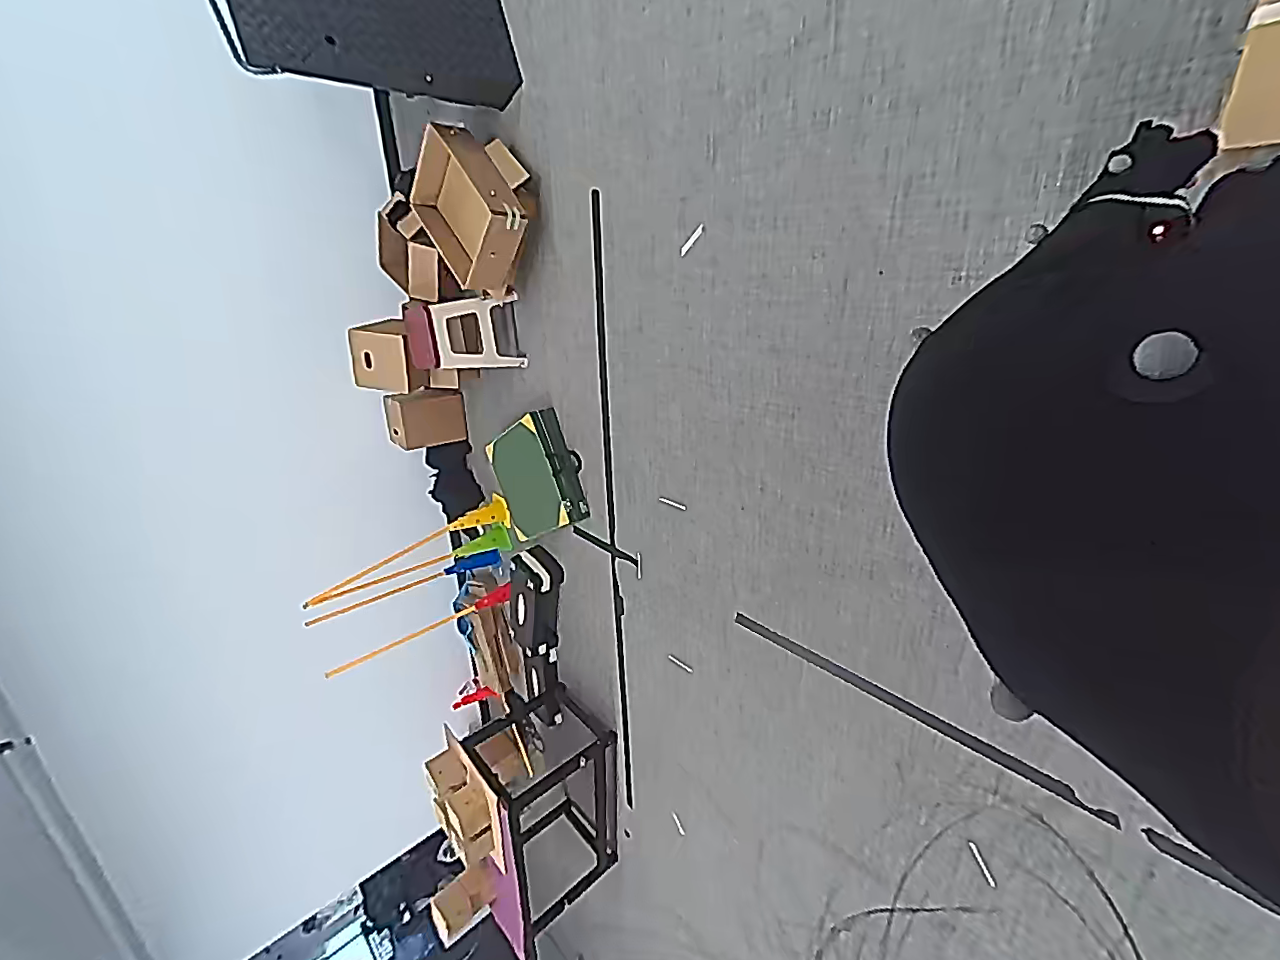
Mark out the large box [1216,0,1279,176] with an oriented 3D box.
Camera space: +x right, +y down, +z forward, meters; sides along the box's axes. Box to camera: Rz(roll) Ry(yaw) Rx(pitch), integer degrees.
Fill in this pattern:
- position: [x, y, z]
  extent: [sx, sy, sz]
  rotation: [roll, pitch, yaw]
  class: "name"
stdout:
- position: [1.069, -0.602, 0.688]
  extent: [0.408, 0.320, 0.320]
  rotation: [20, 121, 43]
  class: "large box"
